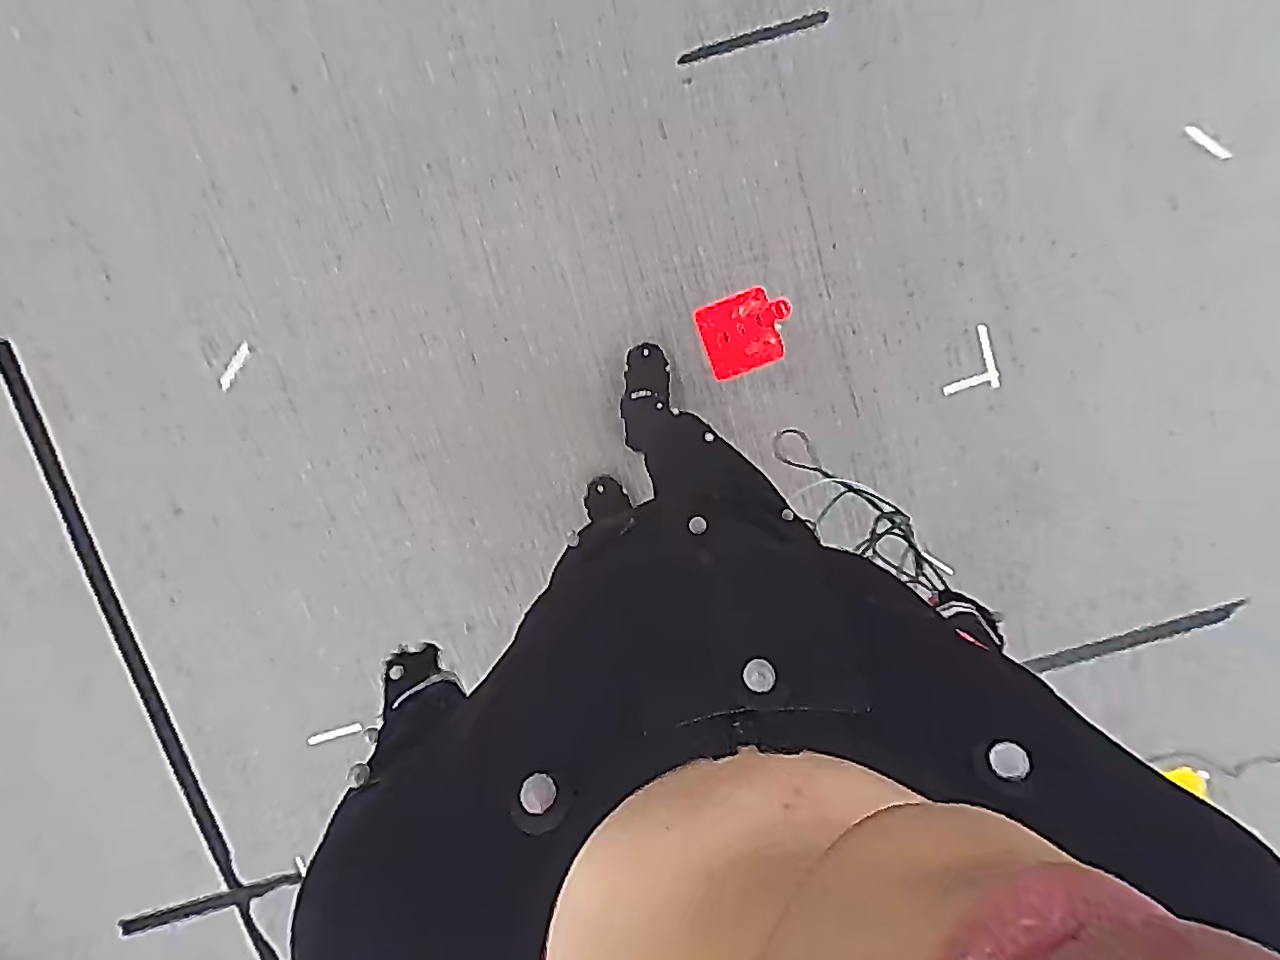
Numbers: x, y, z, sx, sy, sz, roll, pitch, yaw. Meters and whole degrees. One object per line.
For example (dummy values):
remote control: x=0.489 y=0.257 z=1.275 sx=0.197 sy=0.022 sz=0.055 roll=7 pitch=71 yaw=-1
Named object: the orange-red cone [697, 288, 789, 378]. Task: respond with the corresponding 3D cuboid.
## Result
orange-red cone: x=0.271 y=-0.362 z=1.240 sx=0.199 sy=0.360 sz=0.198 roll=-20 pitch=97 yaw=1
